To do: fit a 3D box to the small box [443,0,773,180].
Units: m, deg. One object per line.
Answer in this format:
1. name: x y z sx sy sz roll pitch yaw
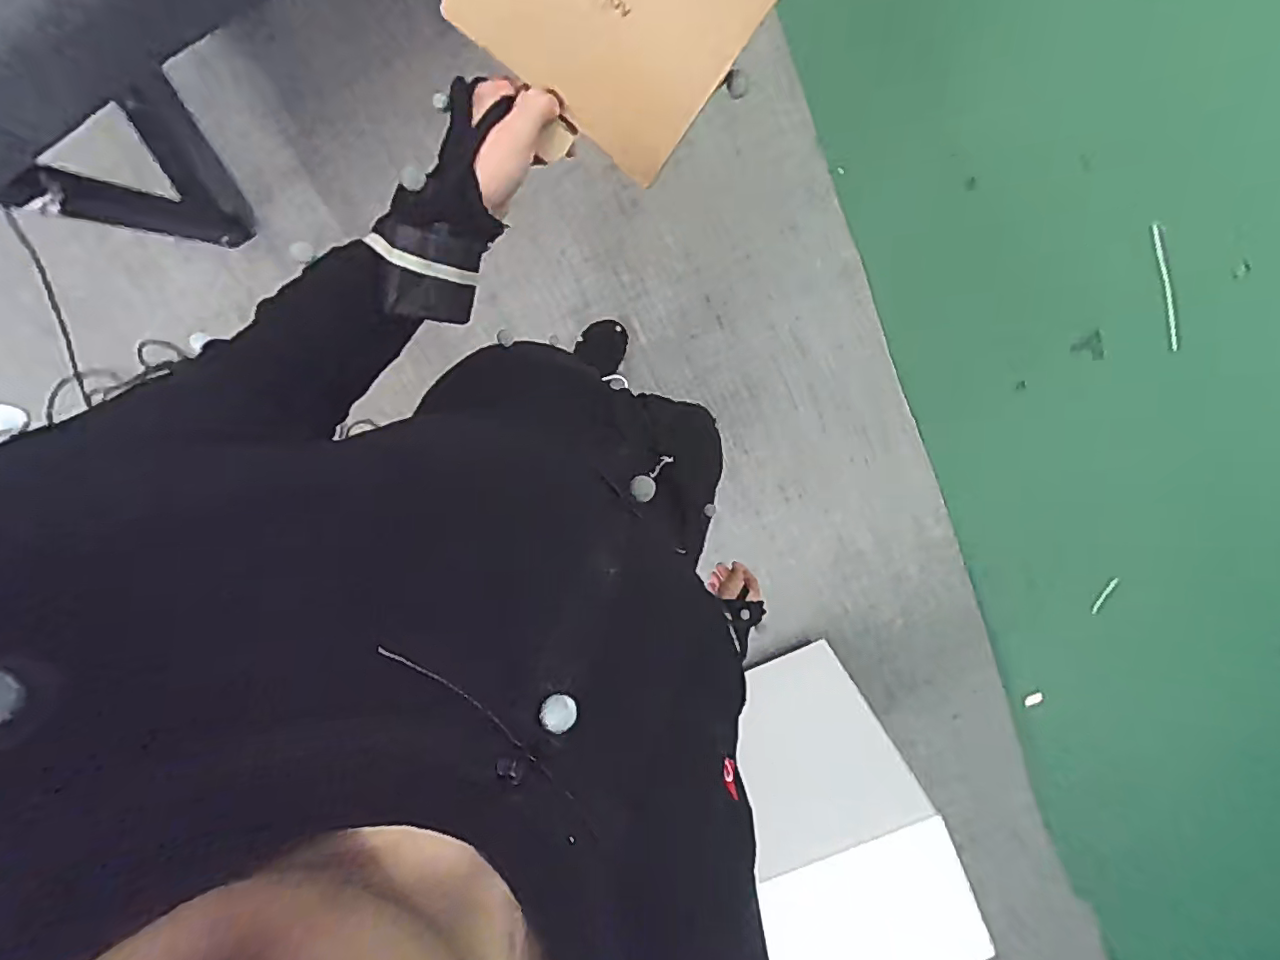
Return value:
1. small box: 0.005 -0.350 0.352 0.168 0.176 0.179 32 137 -17
